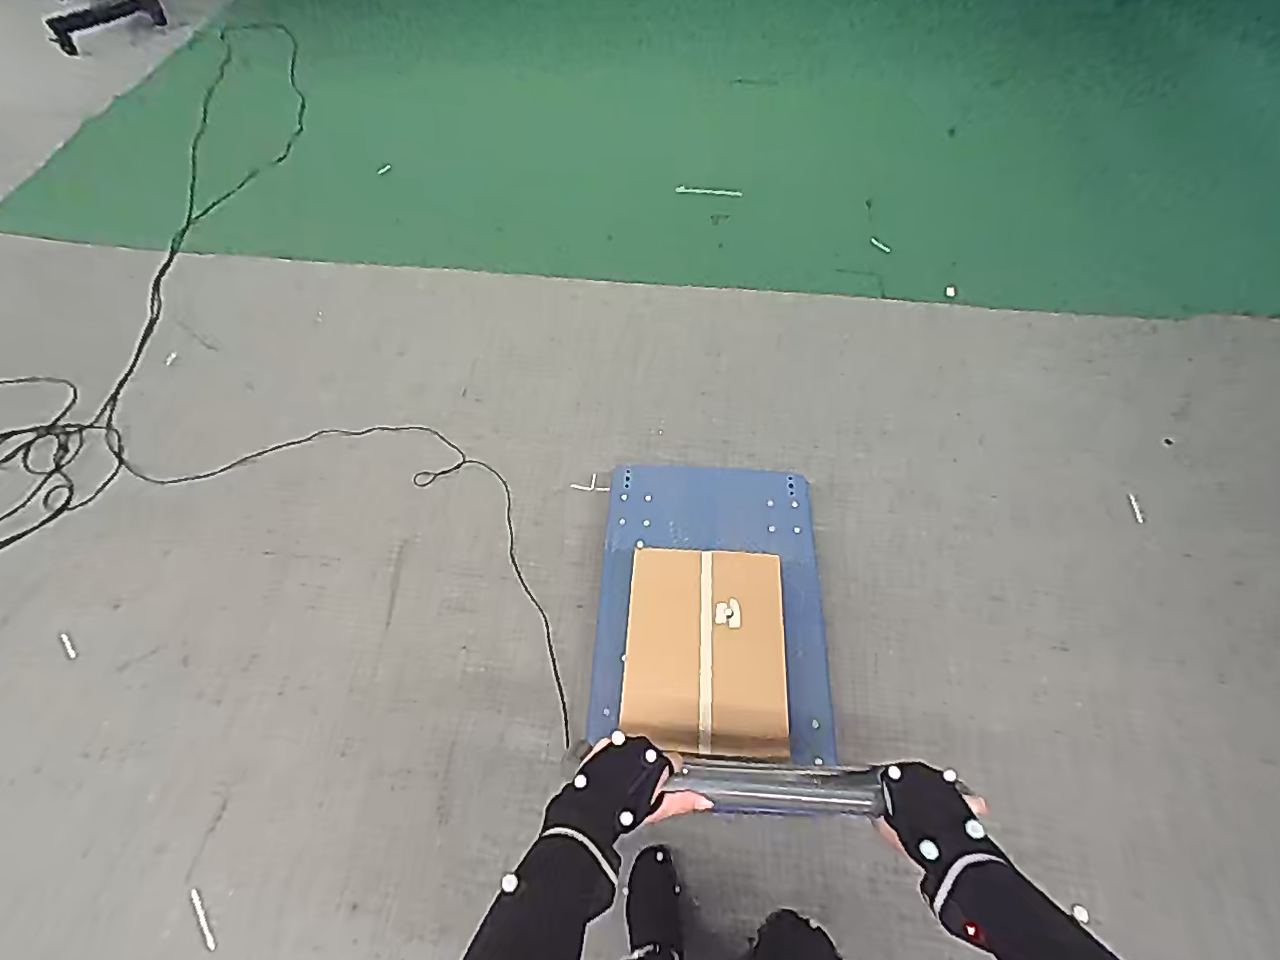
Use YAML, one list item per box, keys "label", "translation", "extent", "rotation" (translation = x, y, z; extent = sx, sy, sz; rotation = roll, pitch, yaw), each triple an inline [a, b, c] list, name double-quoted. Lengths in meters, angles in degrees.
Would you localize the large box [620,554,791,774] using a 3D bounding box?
- label: "large box"
  translation: [0.133, 0.414, 1.200]
  extent: [0.320, 0.320, 0.408]
  rotation: [3, 59, 3]
